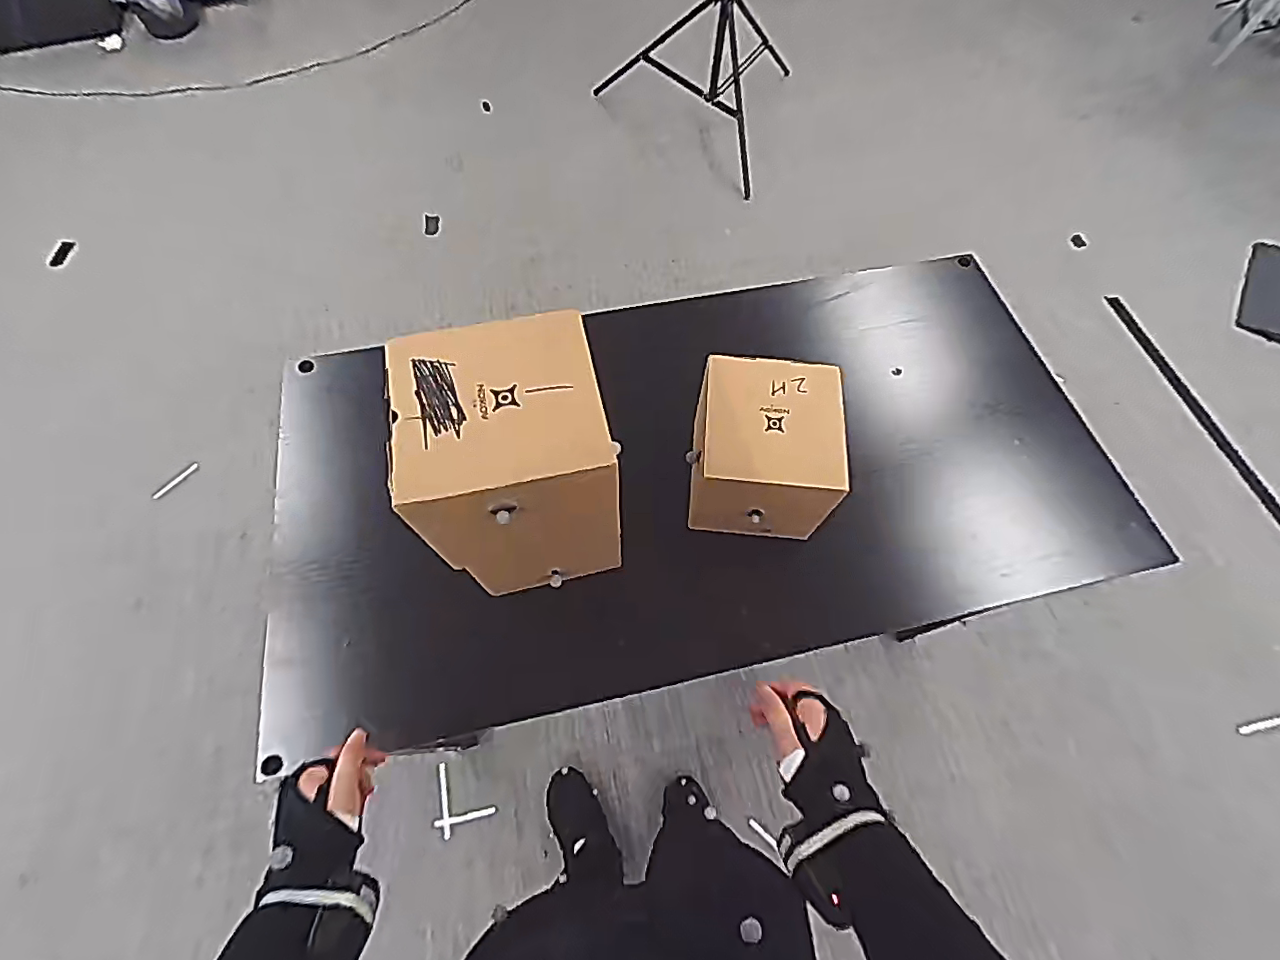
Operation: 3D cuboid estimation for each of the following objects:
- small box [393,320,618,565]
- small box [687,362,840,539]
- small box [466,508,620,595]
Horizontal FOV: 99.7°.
[{"bbox_3d":[-0.122,-0.027,0.535,0.179,0.176,0.168,-11,65,-7],"label":"small box"},{"bbox_3d":[0.156,-0.031,0.726,0.168,0.176,0.179,6,63,1],"label":"small box"},{"bbox_3d":[-0.128,0.034,0.689,0.179,0.176,0.168,-12,65,-8],"label":"small box"}]
